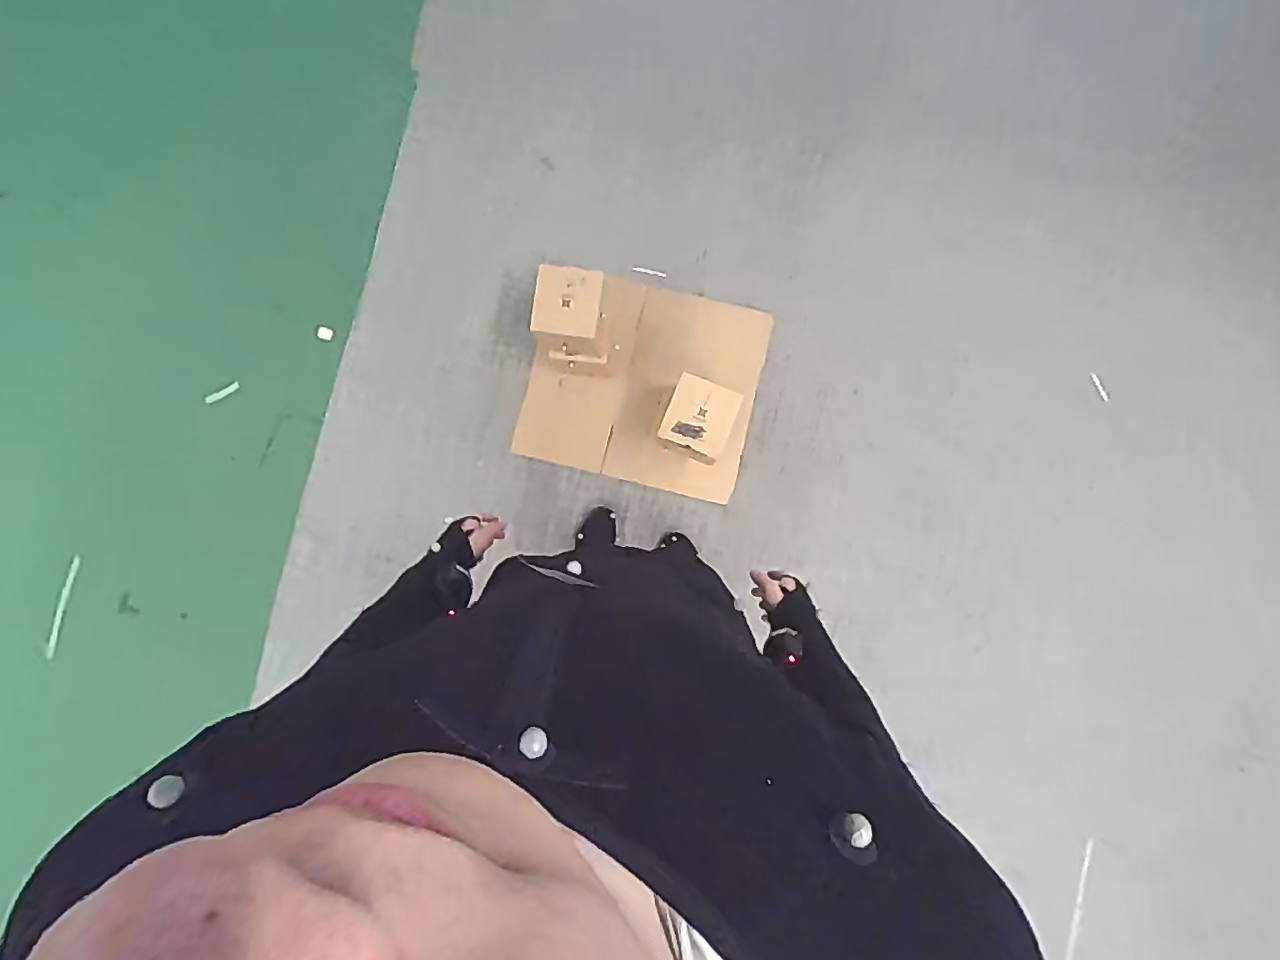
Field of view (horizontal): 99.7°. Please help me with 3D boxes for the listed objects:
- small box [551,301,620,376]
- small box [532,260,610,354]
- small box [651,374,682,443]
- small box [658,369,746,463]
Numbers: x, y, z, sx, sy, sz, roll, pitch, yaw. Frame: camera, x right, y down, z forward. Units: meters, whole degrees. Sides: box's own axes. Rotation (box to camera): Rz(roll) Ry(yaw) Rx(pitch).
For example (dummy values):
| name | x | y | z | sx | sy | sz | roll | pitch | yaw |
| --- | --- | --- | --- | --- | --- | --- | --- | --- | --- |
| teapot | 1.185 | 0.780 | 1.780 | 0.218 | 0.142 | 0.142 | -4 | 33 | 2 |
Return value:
| name | x | y | z | sx | sy | sz | roll | pitch | yaw |
| --- | --- | --- | --- | --- | --- | --- | --- | --- | --- |
| small box | -0.153 | -0.417 | 1.579 | 0.168 | 0.176 | 0.179 | 8 | 87 | 2 |
| small box | -0.173 | -0.444 | 1.415 | 0.168 | 0.176 | 0.179 | 9 | 87 | 1 |
| small box | 0.139 | -0.180 | 1.556 | 0.168 | 0.176 | 0.179 | 19 | 87 | 3 |
| small box | 0.154 | -0.155 | 1.390 | 0.168 | 0.176 | 0.179 | 23 | 86 | 2 |
